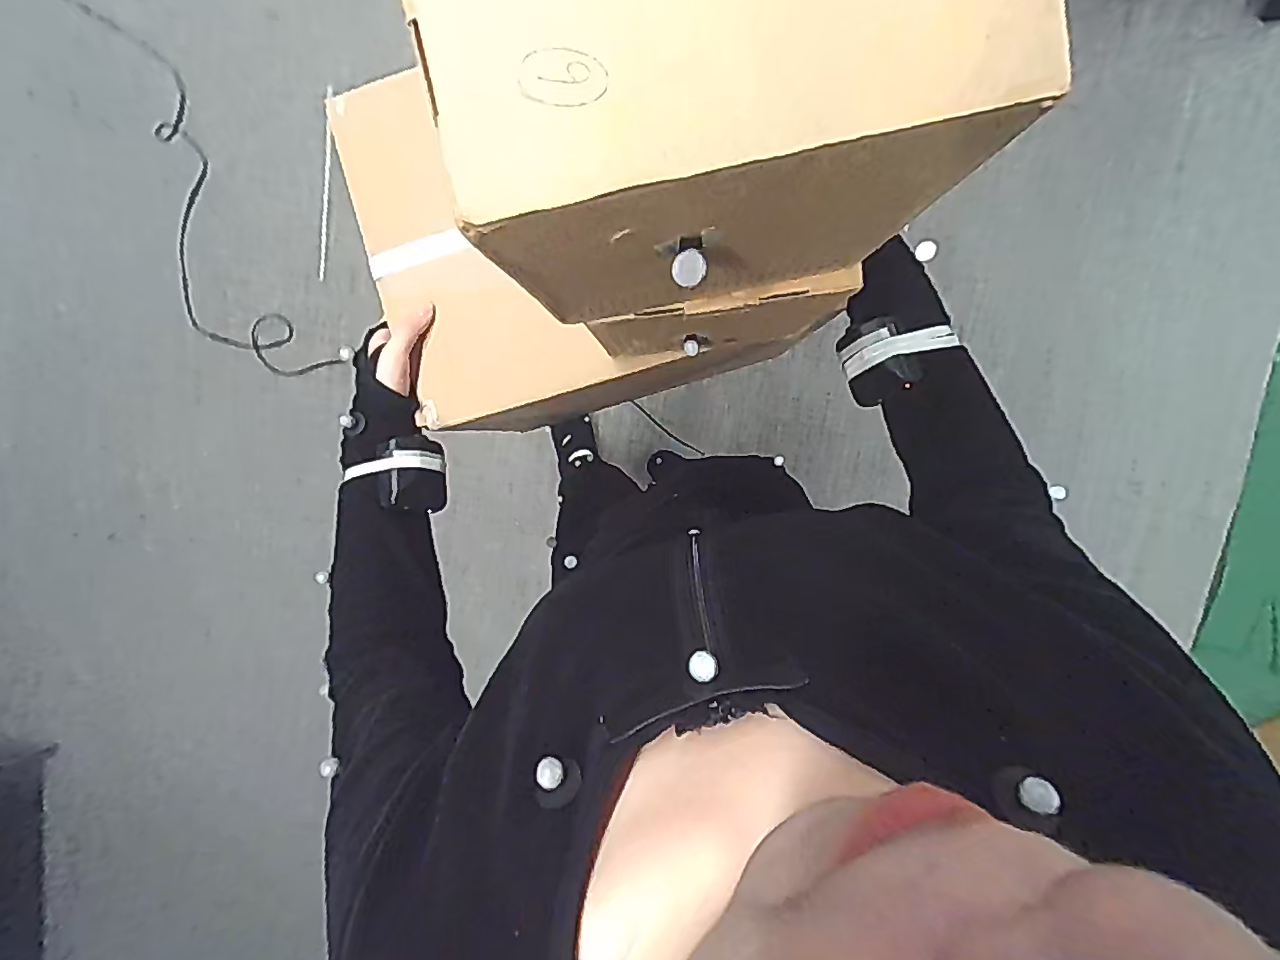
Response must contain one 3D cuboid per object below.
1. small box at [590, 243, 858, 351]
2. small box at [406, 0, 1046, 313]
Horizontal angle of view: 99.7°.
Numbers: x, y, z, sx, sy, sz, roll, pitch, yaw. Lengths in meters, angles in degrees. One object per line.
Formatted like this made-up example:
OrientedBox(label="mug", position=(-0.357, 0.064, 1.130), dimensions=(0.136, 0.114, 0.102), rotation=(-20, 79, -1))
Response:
OrientedBox(label="small box", position=(0.042, -0.198, 0.389), dimensions=(0.168, 0.176, 0.179), rotation=(-5, 97, 4))
OrientedBox(label="small box", position=(0.020, -0.178, 0.227), dimensions=(0.179, 0.176, 0.168), rotation=(-9, 97, 5))
